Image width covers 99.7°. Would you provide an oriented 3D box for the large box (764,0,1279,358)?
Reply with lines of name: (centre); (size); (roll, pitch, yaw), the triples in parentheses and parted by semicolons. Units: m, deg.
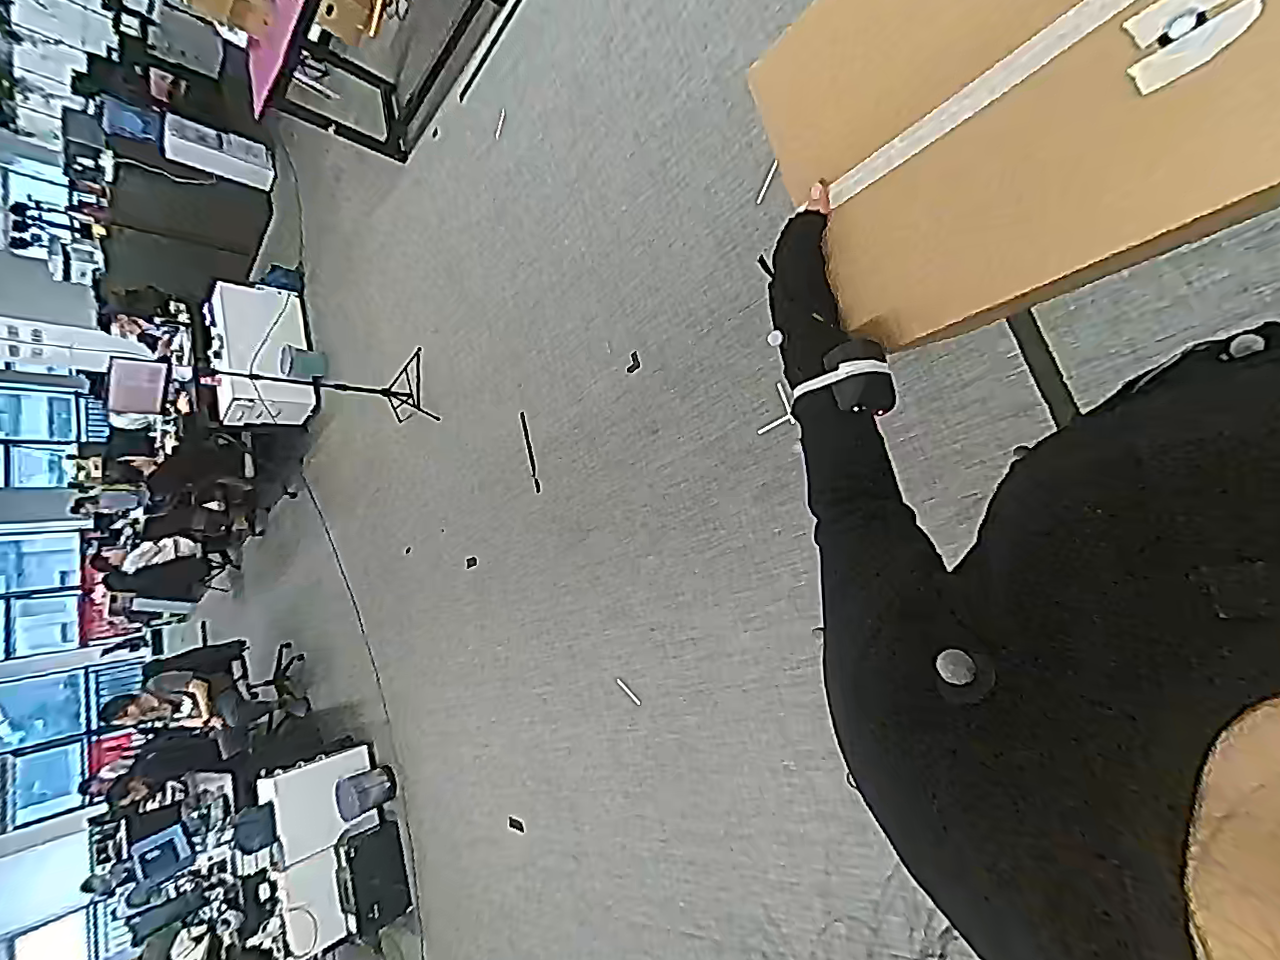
large box: (0.404, -0.349, 0.510); (0.408, 0.320, 0.320); (-21, 90, 47)
